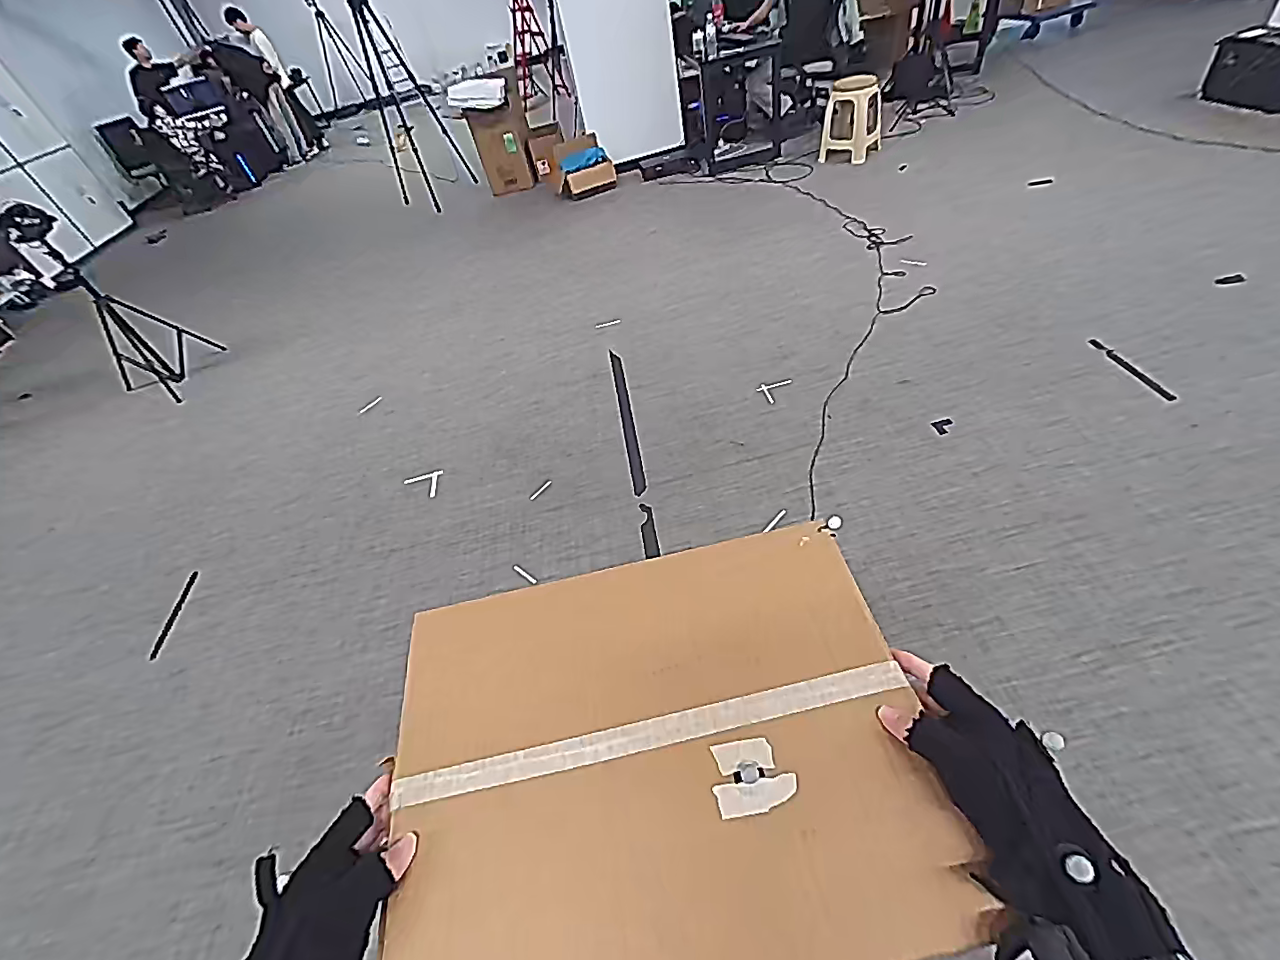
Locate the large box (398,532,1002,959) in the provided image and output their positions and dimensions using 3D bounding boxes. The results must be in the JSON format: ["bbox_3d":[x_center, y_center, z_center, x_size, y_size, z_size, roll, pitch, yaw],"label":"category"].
[{"bbox_3d":[0.032,0.304,0.544,0.408,0.320,0.320,-13,49,0],"label":"large box"}]
